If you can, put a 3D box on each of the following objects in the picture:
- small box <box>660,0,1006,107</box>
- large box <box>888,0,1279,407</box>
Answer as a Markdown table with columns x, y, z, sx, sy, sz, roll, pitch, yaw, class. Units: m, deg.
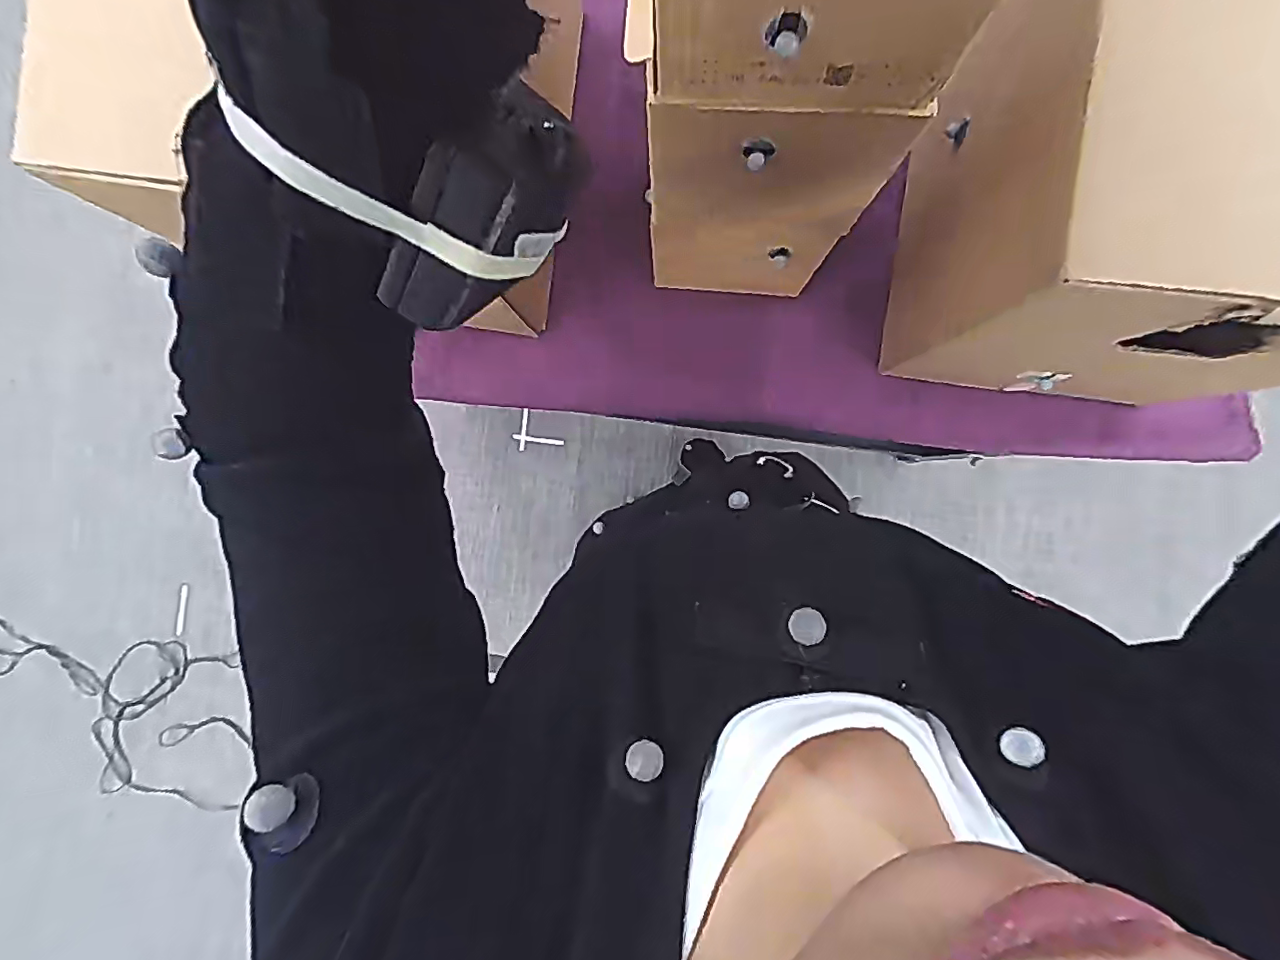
| x | y | z | sx | sy | sz | roll | pitch | yaw | class |
| --- | --- | --- | --- | --- | --- | --- | --- | --- | --- |
| 0.094 | -0.309 | 0.238 | 0.168 | 0.176 | 0.179 | 3 | 91 | 3 | small box |
| 0.448 | -0.295 | 0.478 | 0.320 | 0.320 | 0.408 | 7 | 90 | 3 | large box |
